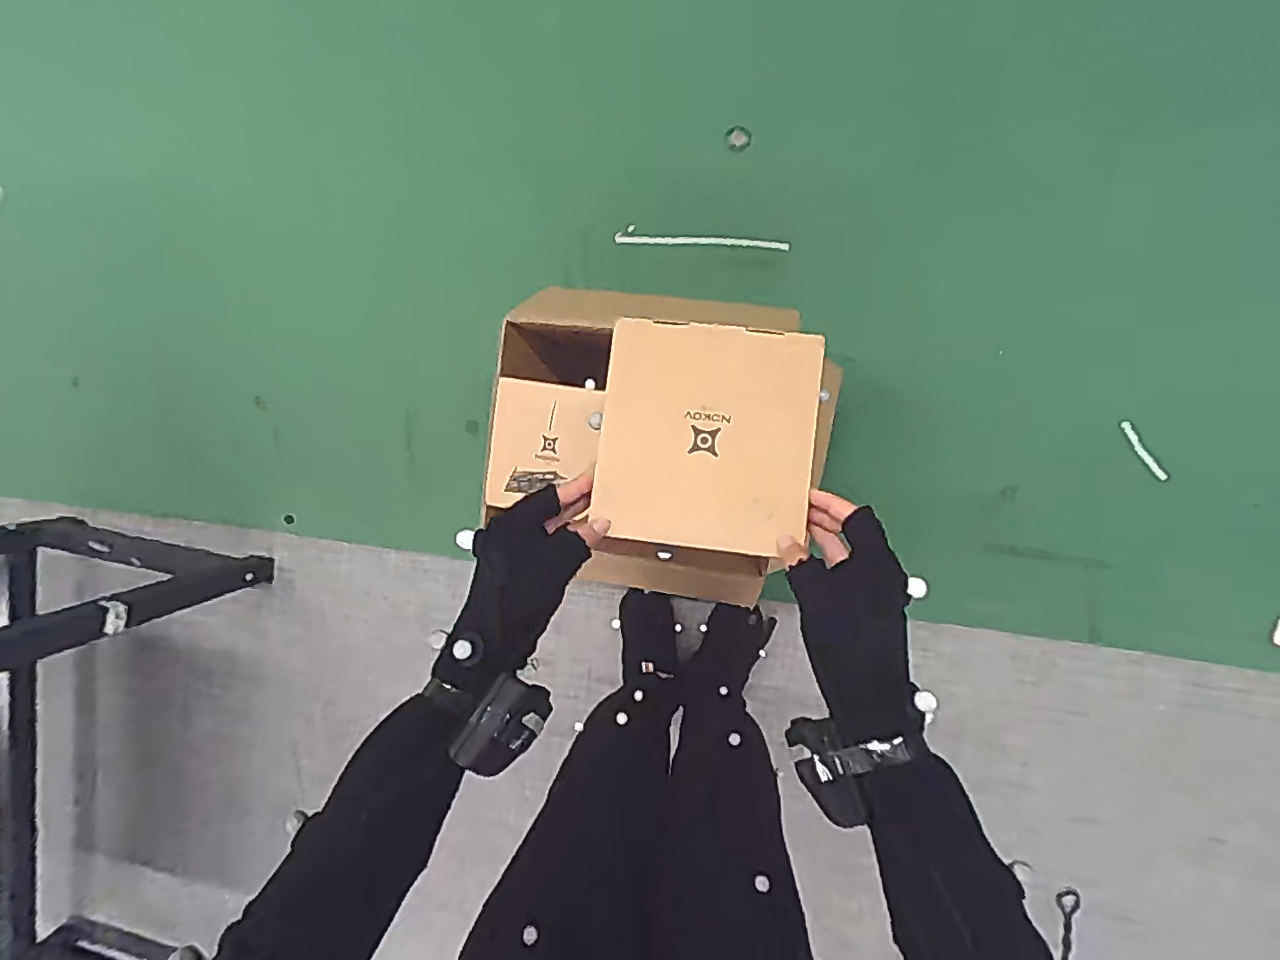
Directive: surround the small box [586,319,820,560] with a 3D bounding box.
[{"bbox_3d":[0.056,-0.028,0.497,0.168,0.176,0.179,7,85,5],"label":"small box"}]
